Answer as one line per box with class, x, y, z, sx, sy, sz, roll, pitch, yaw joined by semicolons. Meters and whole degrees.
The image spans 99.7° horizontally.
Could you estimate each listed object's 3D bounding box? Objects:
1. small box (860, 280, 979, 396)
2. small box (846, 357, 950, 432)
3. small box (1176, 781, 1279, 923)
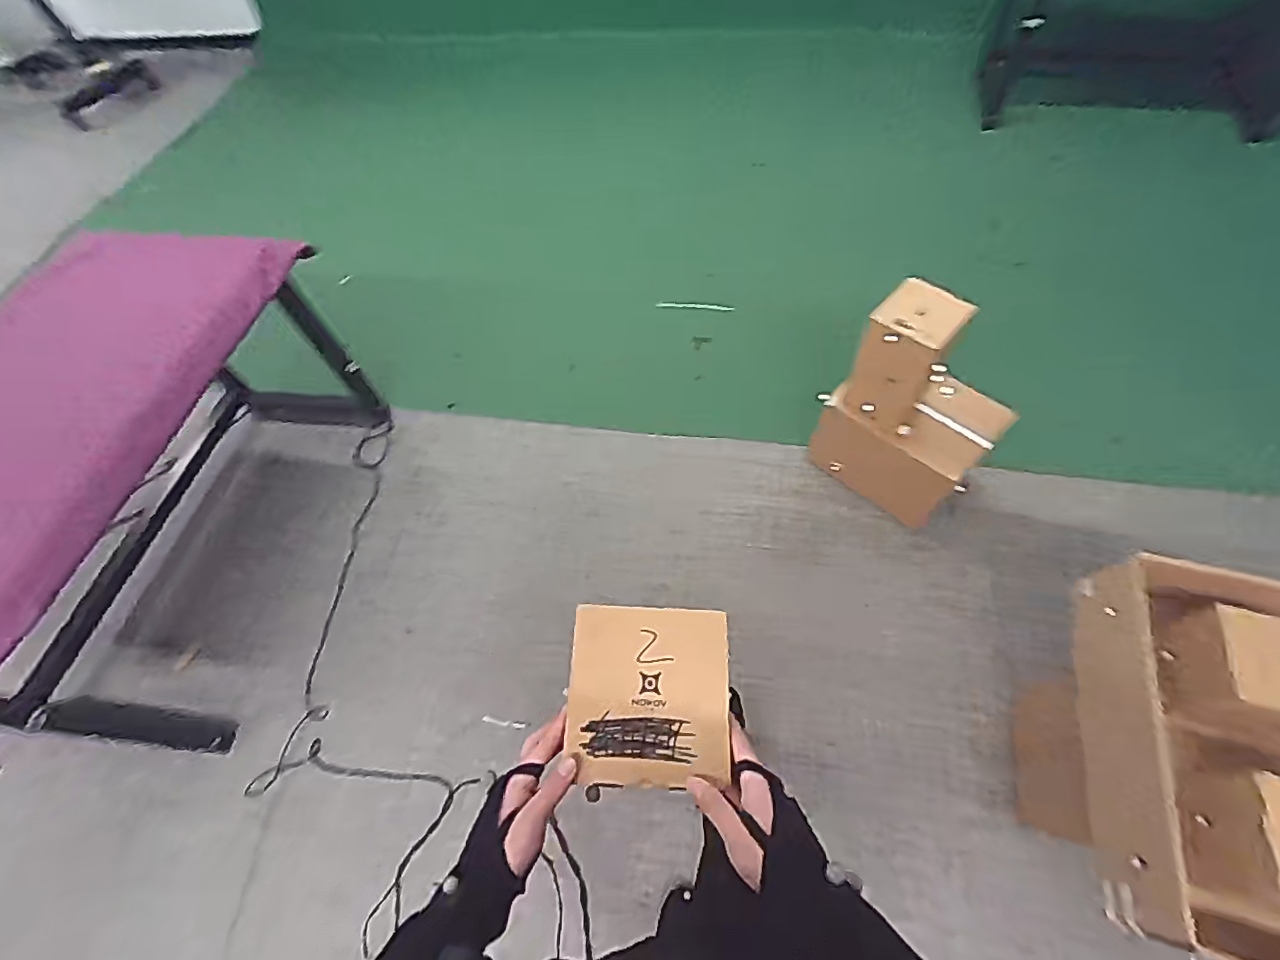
small box;0.664;-0.340;1.309;0.168;0.176;0.179;40;70;23
small box;0.684;-0.265;1.454;0.179;0.176;0.168;-42;65;-17
small box;0.981;0.572;0.817;0.179;0.176;0.168;13;62;14
